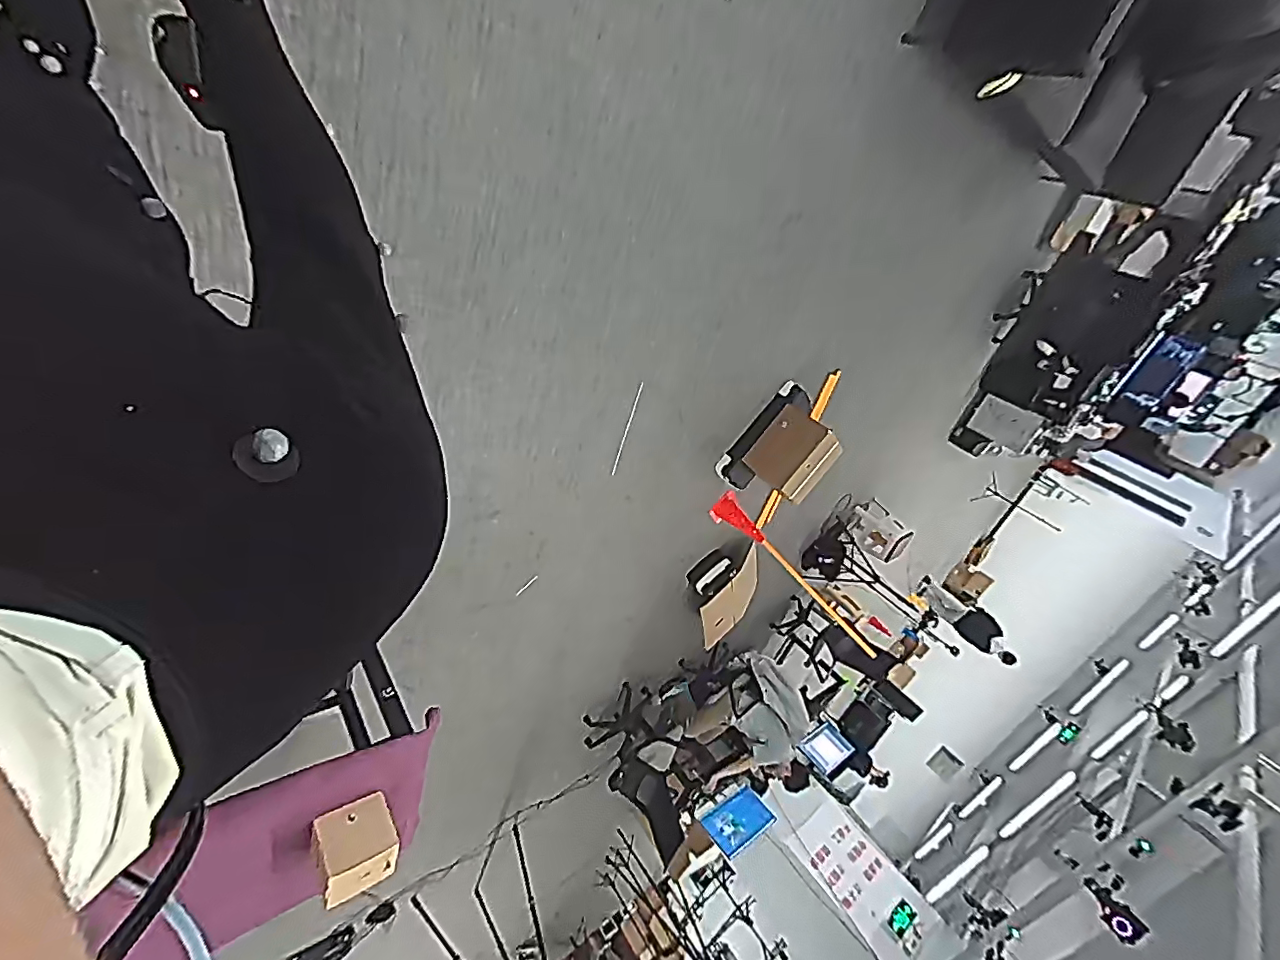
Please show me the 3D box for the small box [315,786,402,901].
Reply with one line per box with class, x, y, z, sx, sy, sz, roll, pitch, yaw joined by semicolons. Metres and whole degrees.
small box;-0.788;1.003;1.504;0.179;0.176;0.168;-6;128;-42
